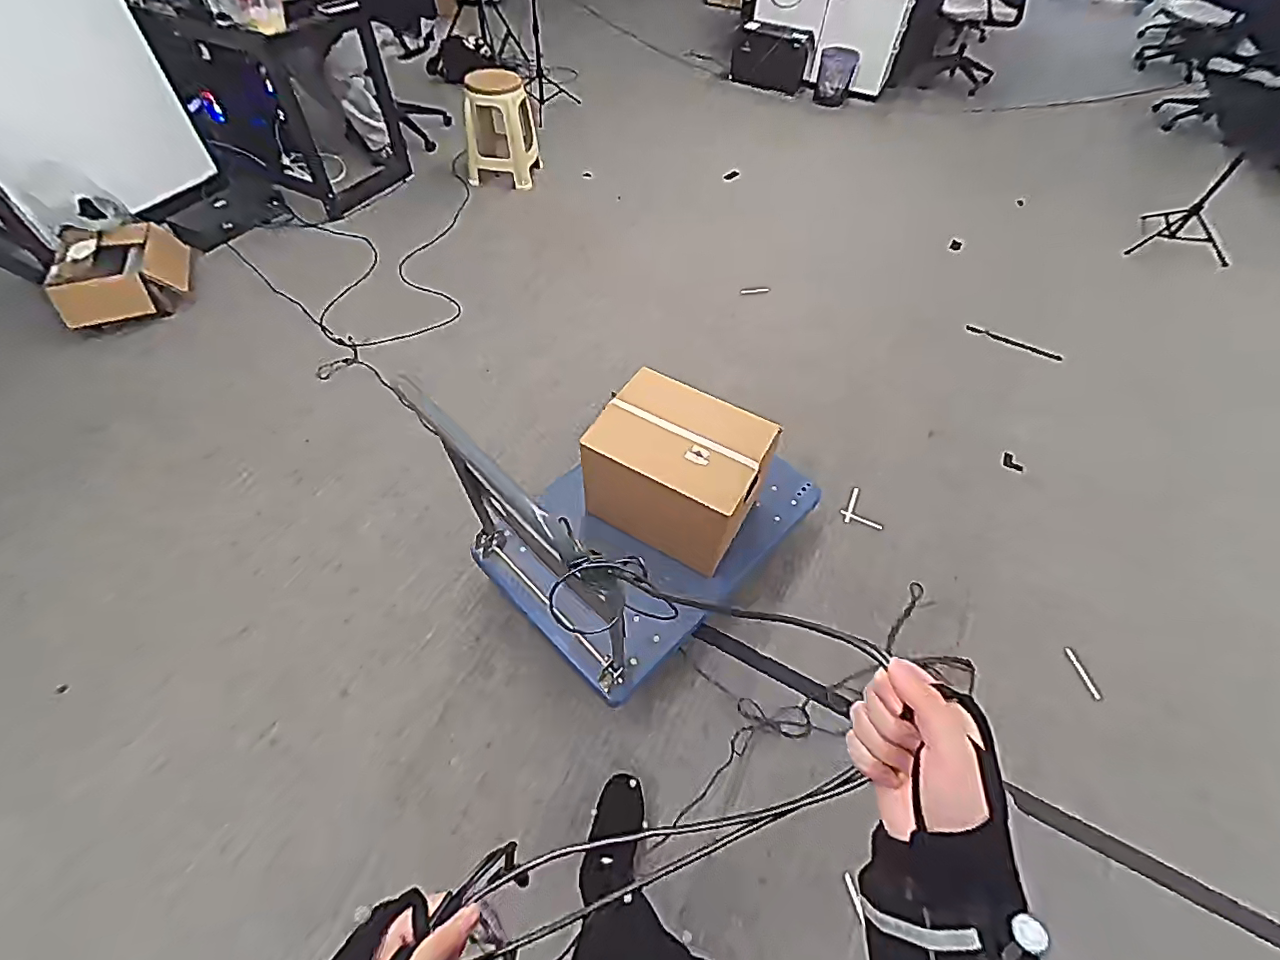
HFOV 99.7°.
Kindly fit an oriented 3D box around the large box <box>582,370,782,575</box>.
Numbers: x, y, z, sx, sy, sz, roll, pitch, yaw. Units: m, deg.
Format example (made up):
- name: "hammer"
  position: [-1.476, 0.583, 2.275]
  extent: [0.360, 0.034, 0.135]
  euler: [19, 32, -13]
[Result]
- name: "large box"
  position: [0.097, -0.019, 1.428]
  extent: [0.408, 0.320, 0.320]
  euler: [27, 59, 15]
